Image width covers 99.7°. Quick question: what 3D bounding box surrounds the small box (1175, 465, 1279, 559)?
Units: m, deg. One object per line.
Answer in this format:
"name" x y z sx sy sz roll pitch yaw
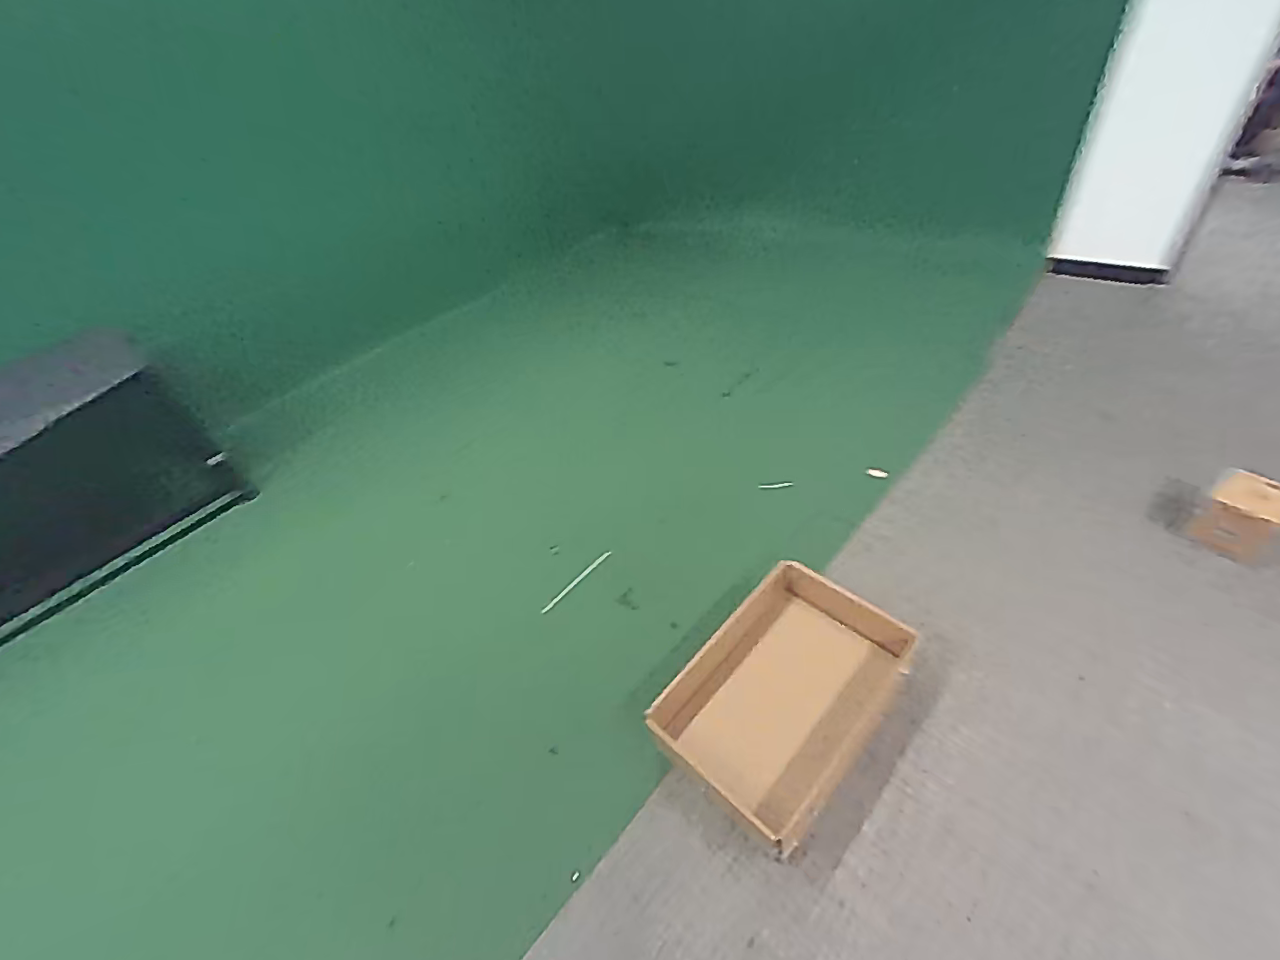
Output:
"small box" 1.707 0.096 1.557 0.179 0.176 0.168 -32 46 -19
